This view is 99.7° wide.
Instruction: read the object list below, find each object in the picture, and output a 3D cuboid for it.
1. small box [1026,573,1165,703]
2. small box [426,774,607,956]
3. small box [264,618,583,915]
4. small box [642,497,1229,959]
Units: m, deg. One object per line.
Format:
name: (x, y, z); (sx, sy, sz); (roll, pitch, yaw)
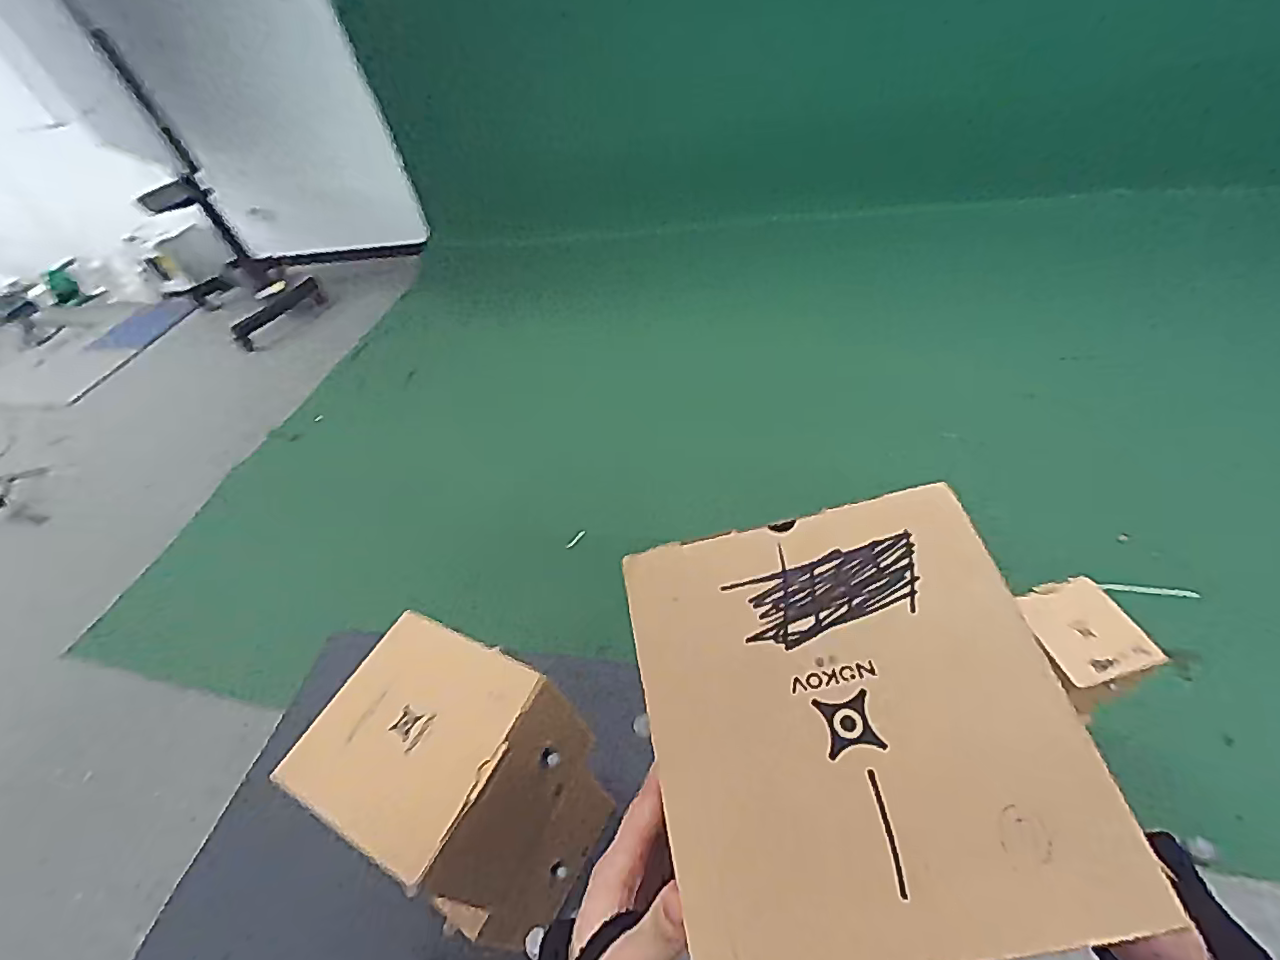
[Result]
small box: (0.790, 0.308, 1.010); (0.168, 0.176, 0.179); (-17, 47, -2)
small box: (-0.159, 0.383, 0.604); (0.179, 0.176, 0.168); (18, 54, 29)
small box: (-0.175, 0.260, 0.495); (0.179, 0.176, 0.168); (12, 51, 26)
small box: (0.105, 0.137, 0.284); (0.168, 0.176, 0.179); (-14, 59, 5)
